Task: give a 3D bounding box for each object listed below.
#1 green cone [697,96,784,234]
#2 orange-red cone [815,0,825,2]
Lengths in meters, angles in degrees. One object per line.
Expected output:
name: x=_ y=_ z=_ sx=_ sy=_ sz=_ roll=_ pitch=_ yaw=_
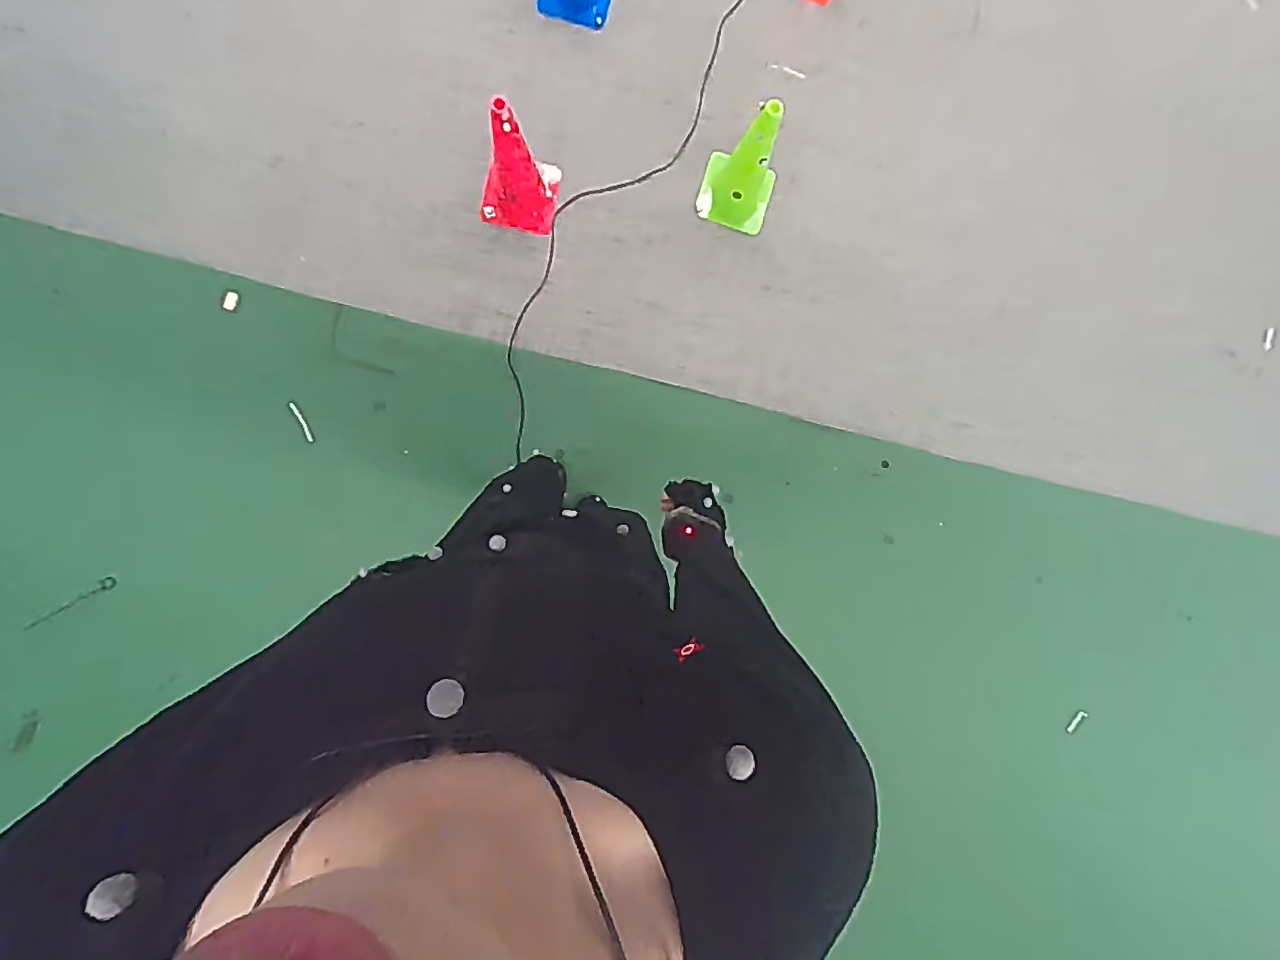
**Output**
green cone: x=0.293 y=-0.832 z=1.391 sx=0.200 sy=0.368 sz=0.202 roll=16 pitch=86 yaw=-4
orange-red cone: x=0.502 y=-1.532 z=1.430 sx=0.198 sy=0.360 sz=0.199 roll=18 pitch=89 yaw=-3
